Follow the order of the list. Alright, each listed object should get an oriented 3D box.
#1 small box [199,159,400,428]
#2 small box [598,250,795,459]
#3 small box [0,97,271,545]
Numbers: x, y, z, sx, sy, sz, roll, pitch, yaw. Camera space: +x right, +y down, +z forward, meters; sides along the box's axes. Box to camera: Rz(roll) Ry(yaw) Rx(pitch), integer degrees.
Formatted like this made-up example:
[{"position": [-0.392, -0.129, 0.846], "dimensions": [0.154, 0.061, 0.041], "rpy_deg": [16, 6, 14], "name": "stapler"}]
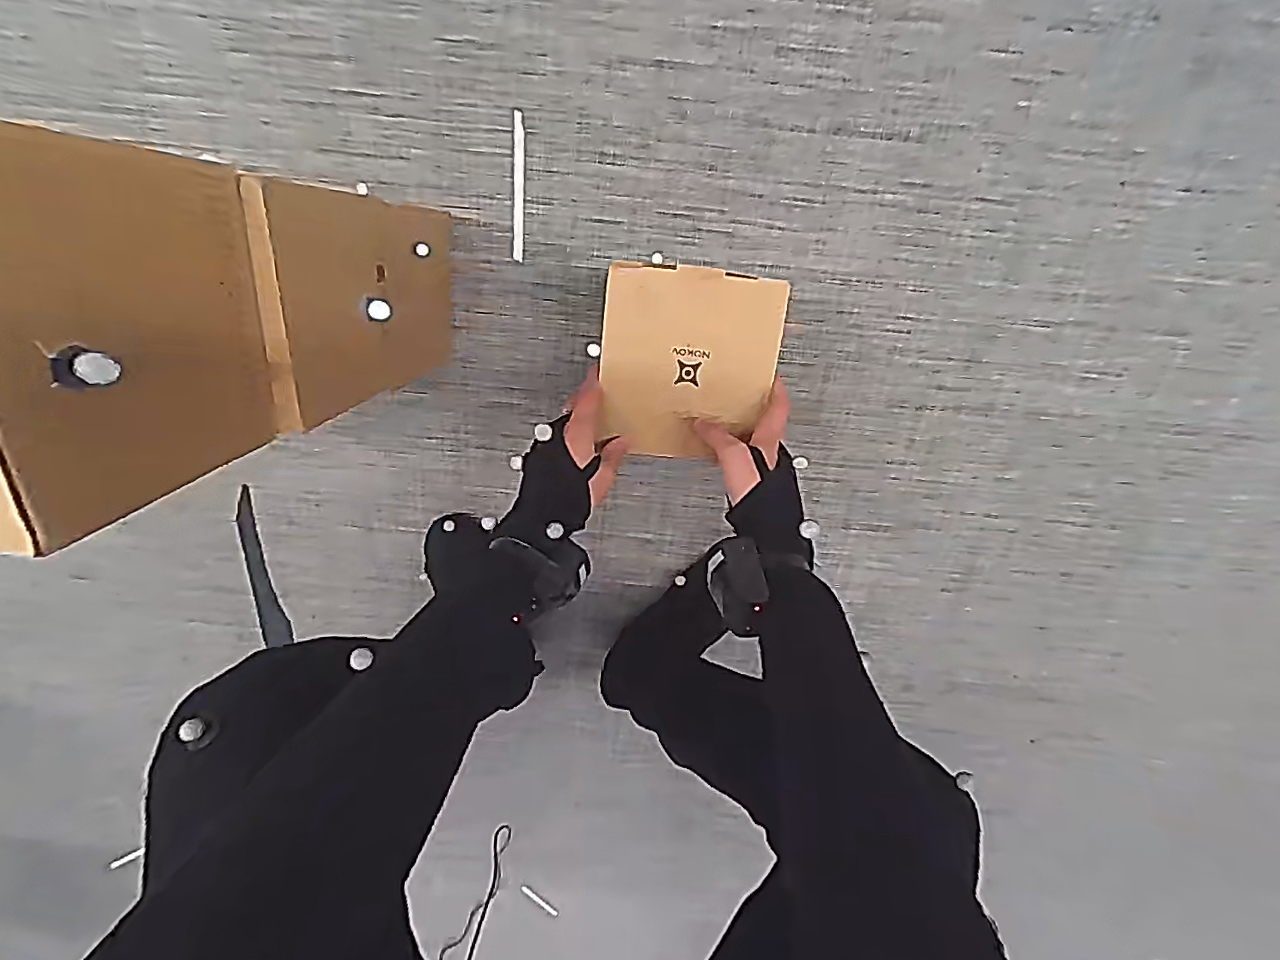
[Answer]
[{"position": [-0.313, -0.150, 0.422], "dimensions": [0.179, 0.176, 0.168], "rpy_deg": [5, 114, -3], "name": "small box"}, {"position": [0.046, -0.134, 0.573], "dimensions": [0.168, 0.176, 0.179], "rpy_deg": [5, 108, -3], "name": "small box"}, {"position": [-0.326, -0.092, 0.270], "dimensions": [0.168, 0.176, 0.179], "rpy_deg": [7, 114, -2], "name": "small box"}]
